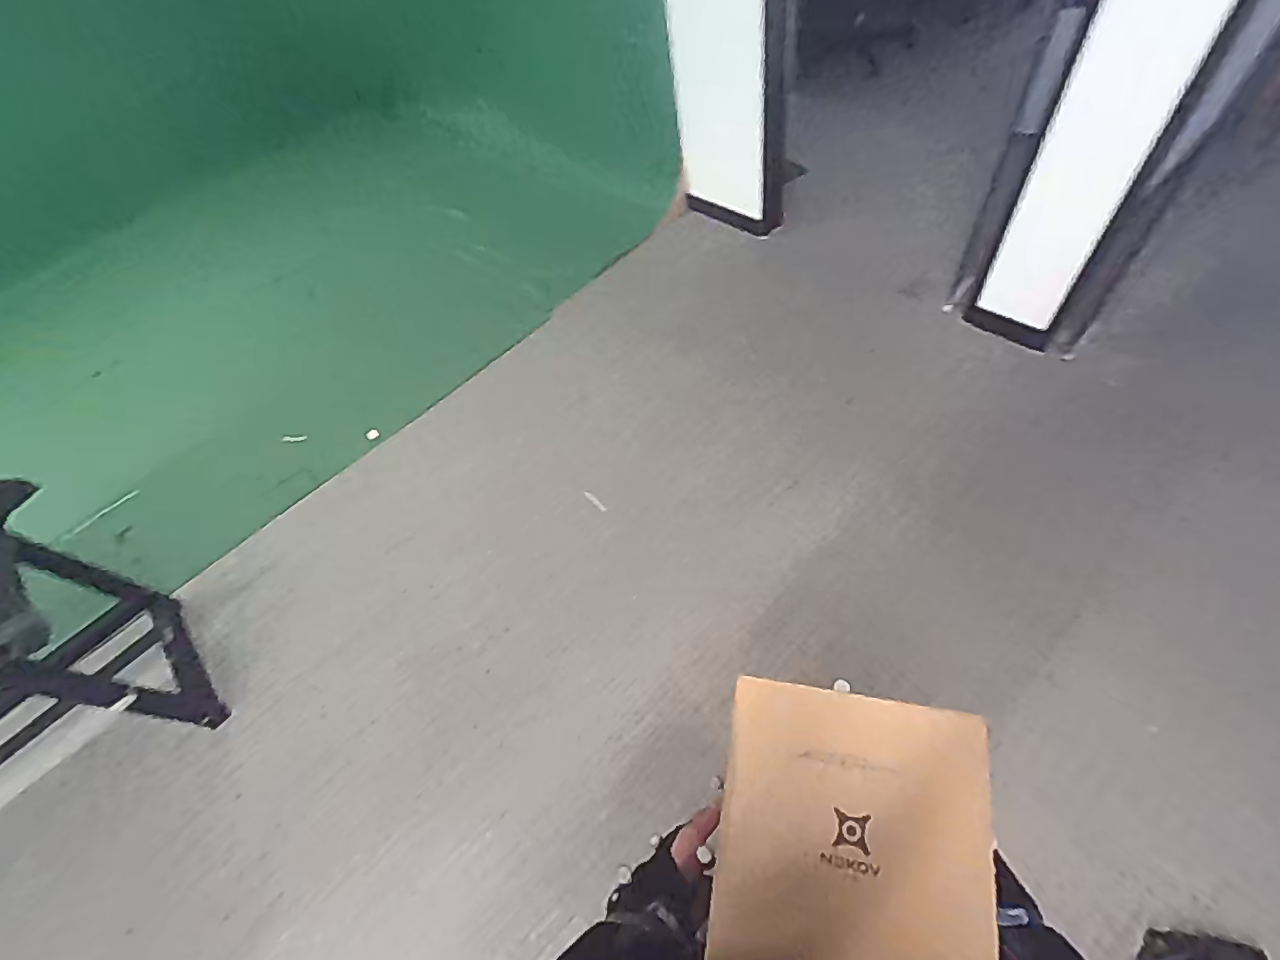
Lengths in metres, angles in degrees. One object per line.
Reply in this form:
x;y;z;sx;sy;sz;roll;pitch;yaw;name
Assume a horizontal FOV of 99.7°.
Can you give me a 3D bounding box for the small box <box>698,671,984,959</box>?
0.140;0.257;0.420;0.168;0.176;0.179;5;67;11;small box
